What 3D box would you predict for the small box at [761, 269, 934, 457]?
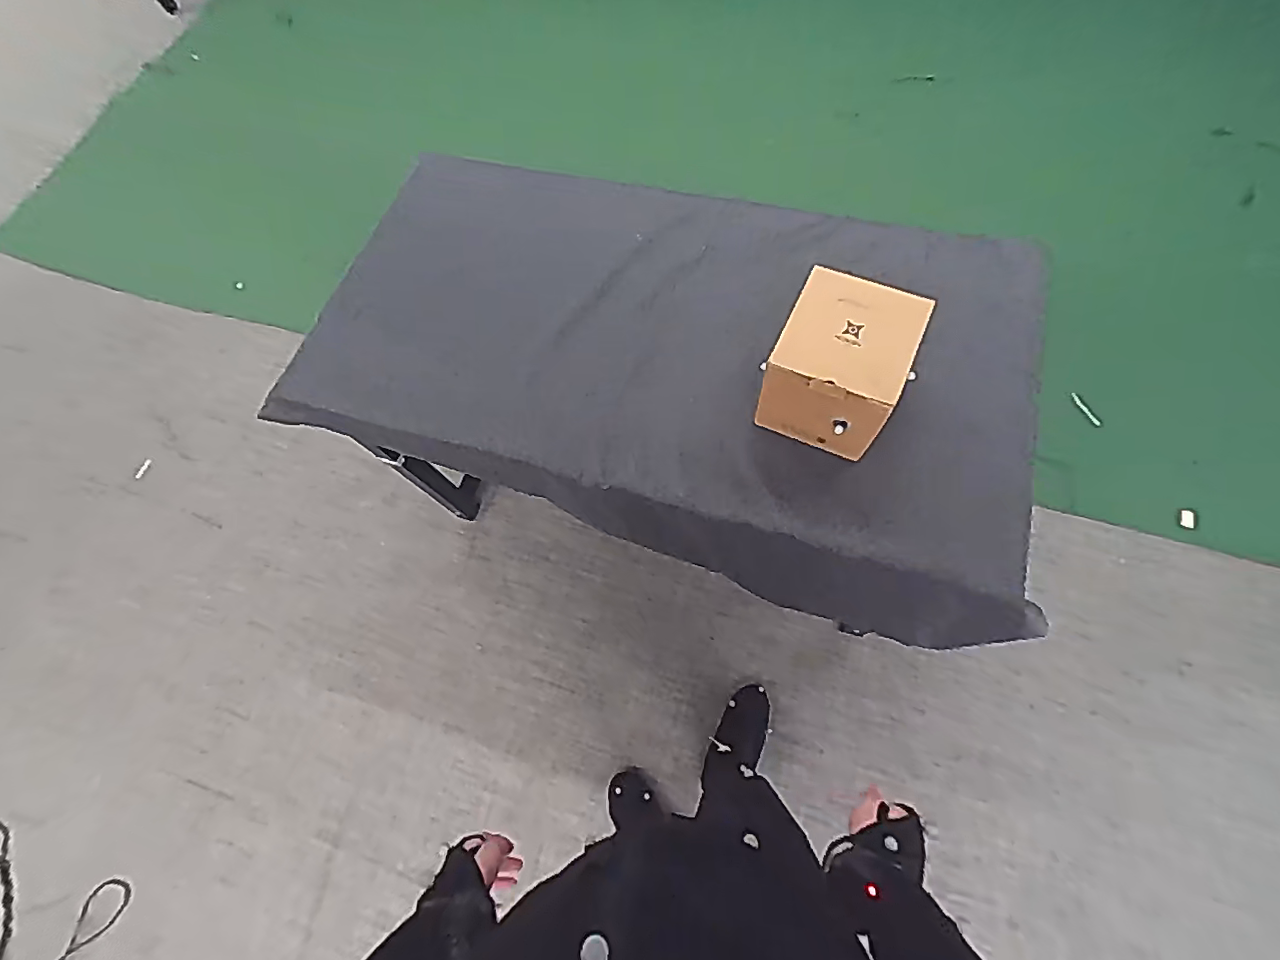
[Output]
[{"bbox_3d":[0.283,-0.158,0.775,0.168,0.176,0.179,24,71,13],"label":"small box"}]
